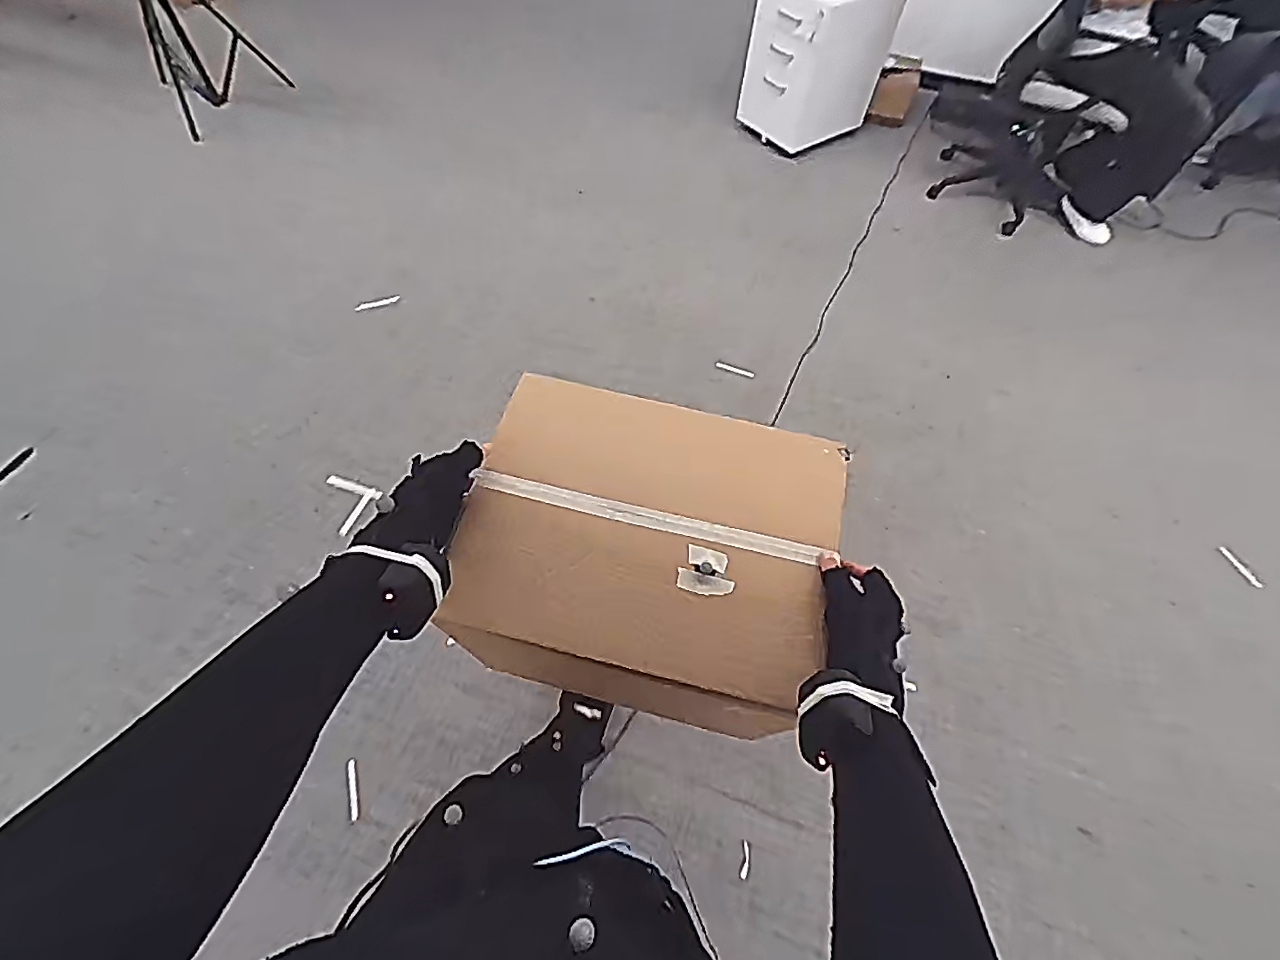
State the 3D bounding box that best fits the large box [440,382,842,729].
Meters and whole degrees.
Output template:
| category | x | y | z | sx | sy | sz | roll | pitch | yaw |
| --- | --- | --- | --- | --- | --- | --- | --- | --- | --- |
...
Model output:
| category | x | y | z | sx | sy | sz | roll | pitch | yaw |
| --- | --- | --- | --- | --- | --- | --- | --- | --- | --- |
| large box | 0.012 | 0.117 | 0.737 | 0.408 | 0.320 | 0.320 | 14 | 62 | 5 |
